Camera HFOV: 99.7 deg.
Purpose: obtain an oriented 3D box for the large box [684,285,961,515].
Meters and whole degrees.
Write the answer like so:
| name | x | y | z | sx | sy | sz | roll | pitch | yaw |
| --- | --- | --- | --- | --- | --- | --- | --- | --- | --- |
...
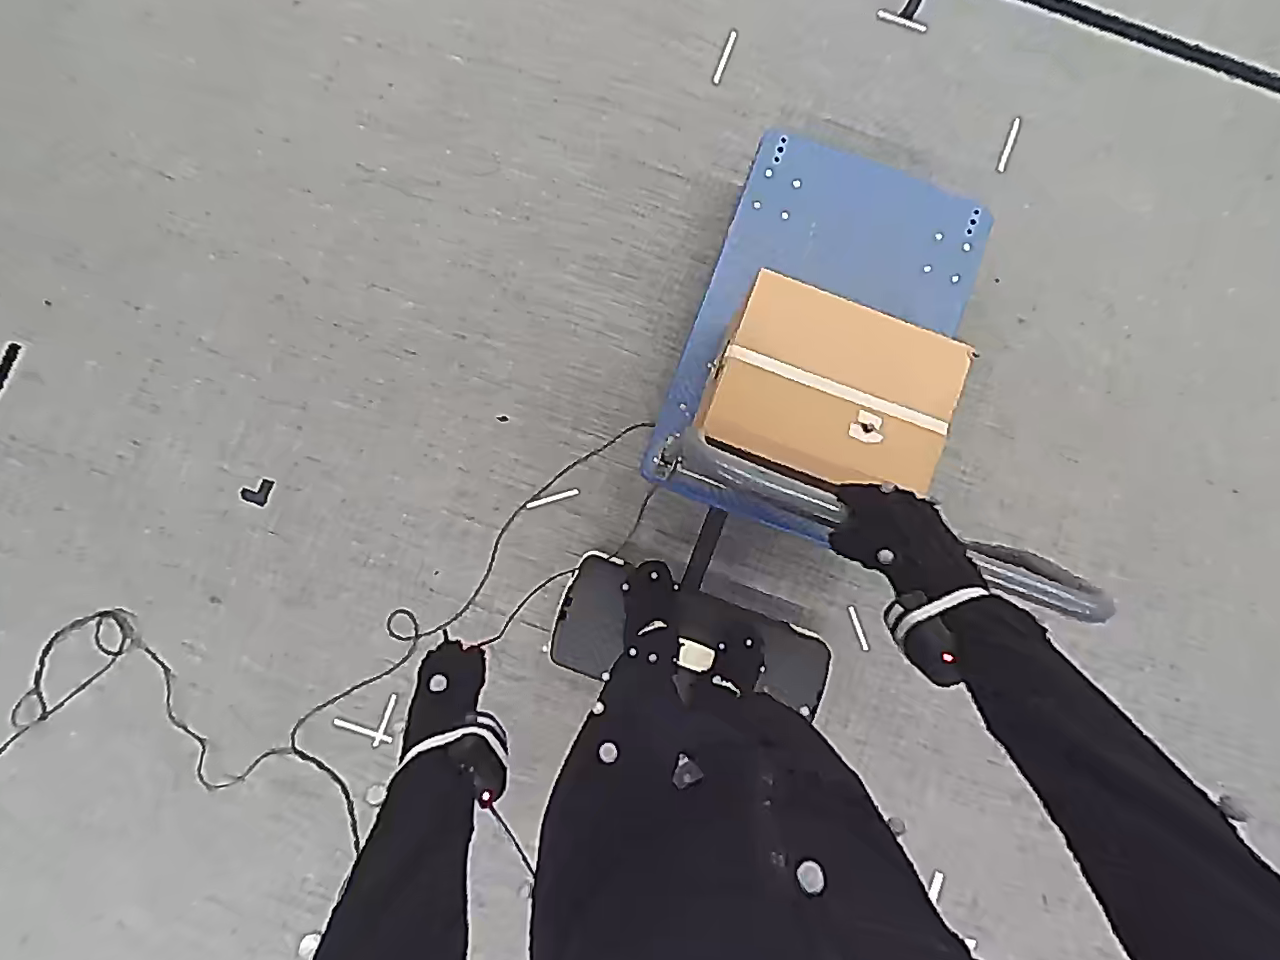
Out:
| name | x | y | z | sx | sy | sz | roll | pitch | yaw |
| --- | --- | --- | --- | --- | --- | --- | --- | --- | --- |
| large box | 0.337 | -0.138 | 1.110 | 0.408 | 0.320 | 0.320 | 20 | 88 | -1 |
